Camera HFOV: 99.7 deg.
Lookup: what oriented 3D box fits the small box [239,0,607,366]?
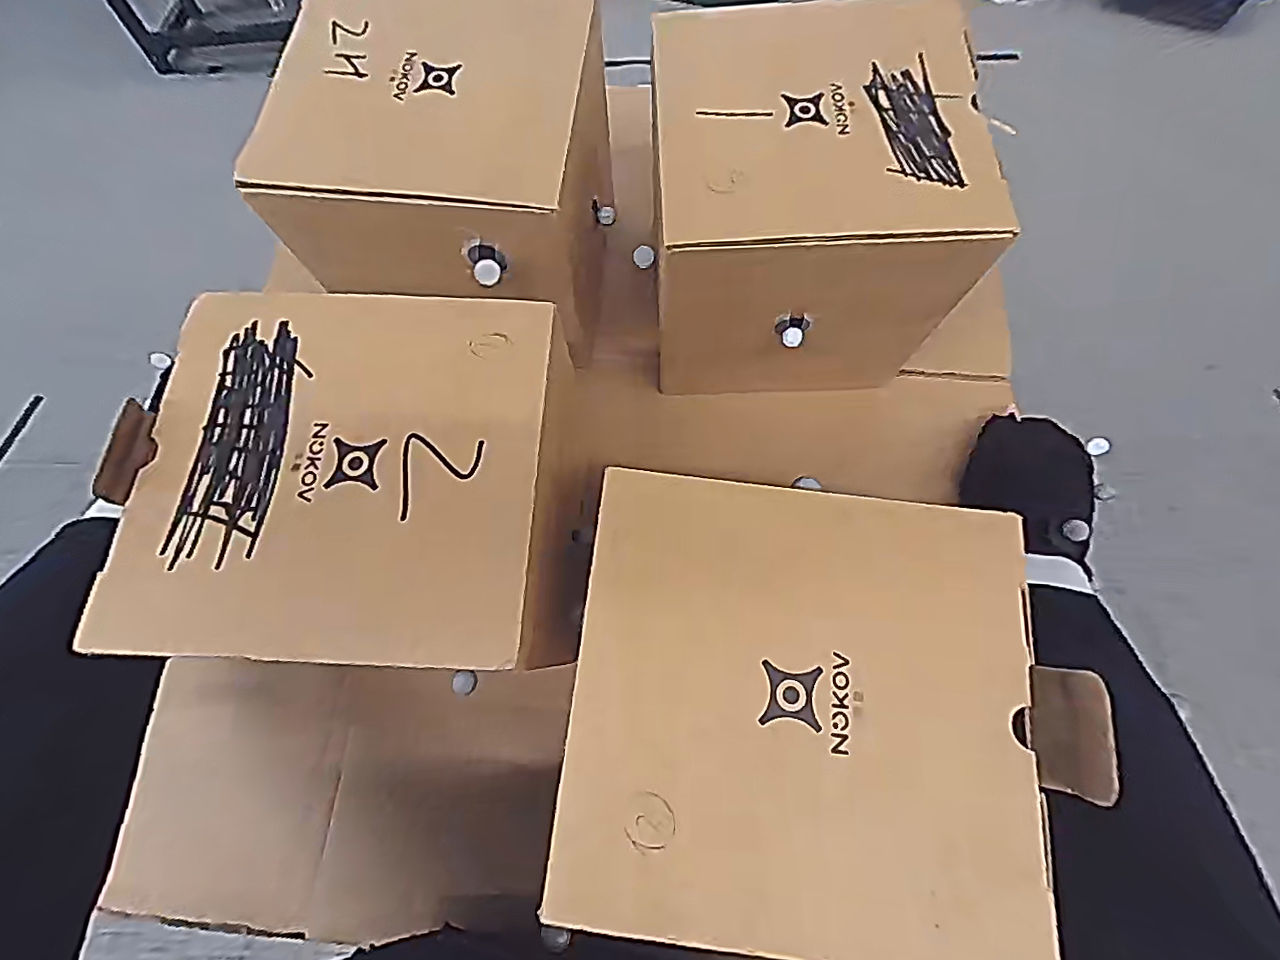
[{"bbox_3d":[-0.121,-0.196,0.386,0.179,0.176,0.168,5,73,3],"label":"small box"}]
